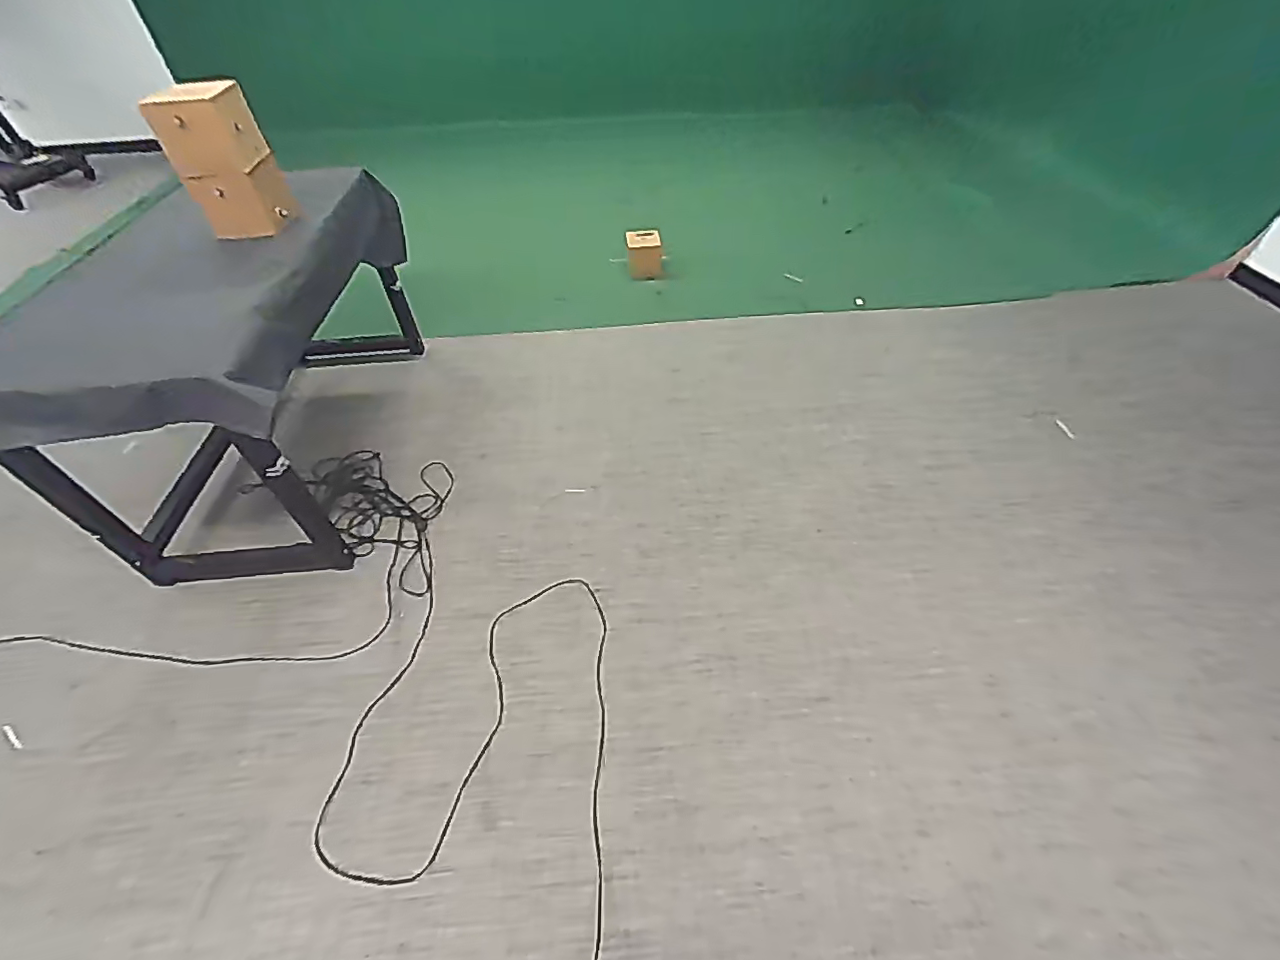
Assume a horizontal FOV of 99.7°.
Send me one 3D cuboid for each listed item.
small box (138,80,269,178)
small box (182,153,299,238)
[{"bbox_3d":[-1.107,-0.902,1.394,0.179,0.176,0.168,-6,49,-1],"label":"small box"},{"bbox_3d":[-1.110,-0.797,1.518,0.179,0.176,0.168,-3,49,-1],"label":"small box"}]
